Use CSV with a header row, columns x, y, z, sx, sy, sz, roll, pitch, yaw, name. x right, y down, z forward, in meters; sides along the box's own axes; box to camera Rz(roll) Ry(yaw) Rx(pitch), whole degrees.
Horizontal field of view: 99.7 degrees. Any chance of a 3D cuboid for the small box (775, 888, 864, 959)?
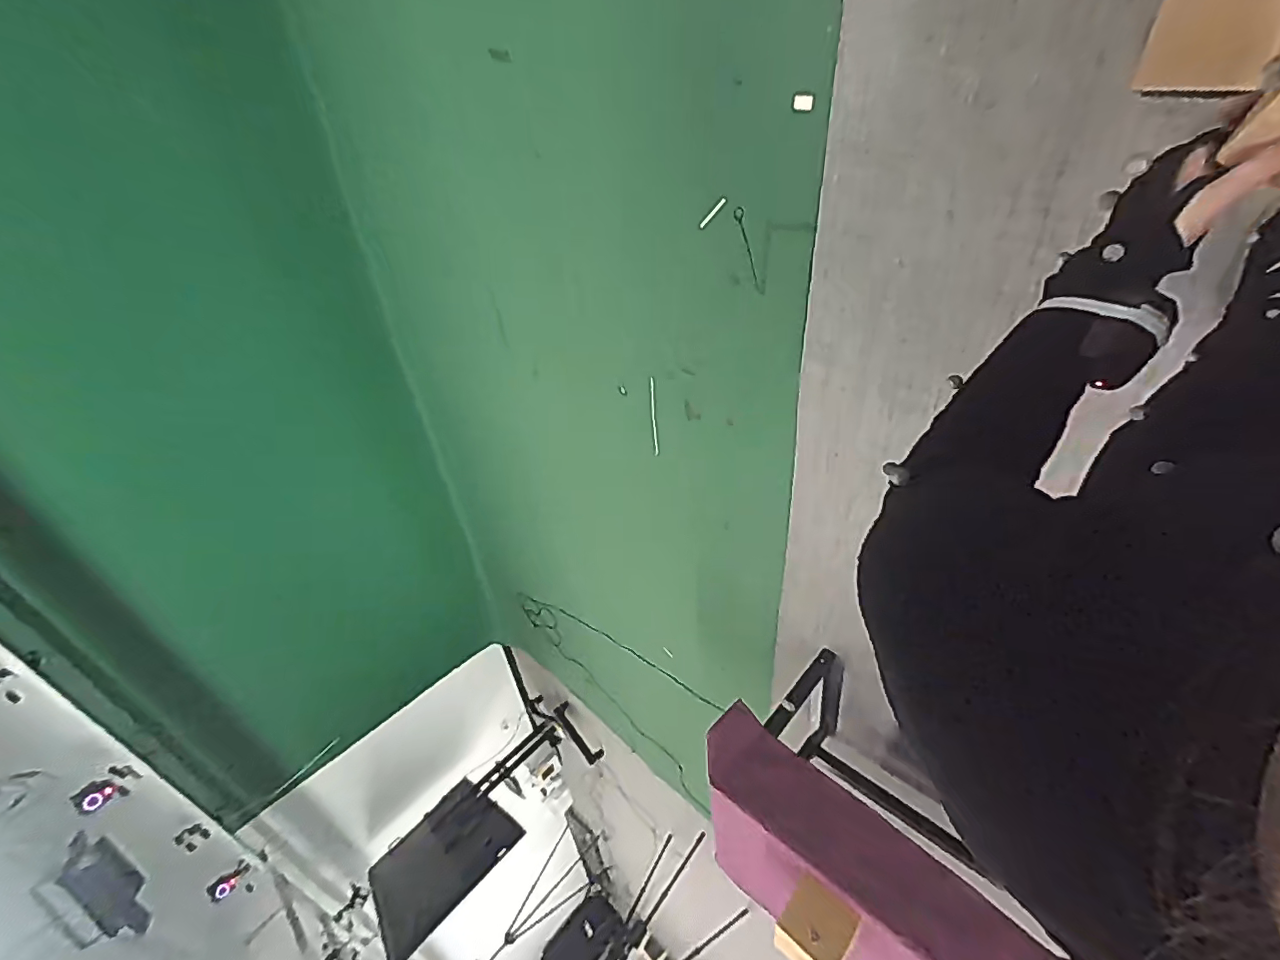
x,y,z,sx,sy,sz,roll,pitch,yaw,name
0.497,1.295,1.499,0.179,0.176,0.168,24,134,38,small box
